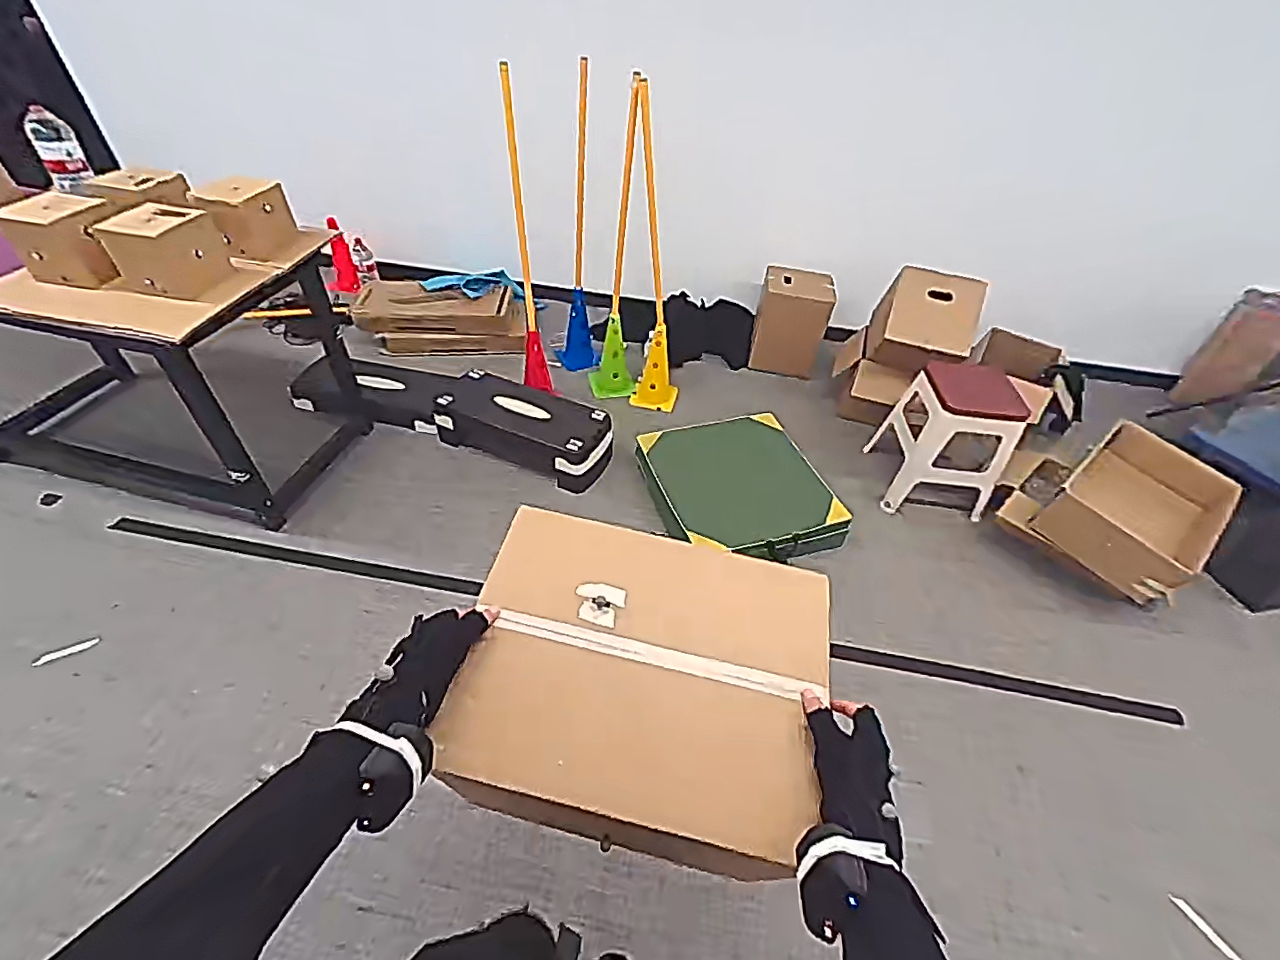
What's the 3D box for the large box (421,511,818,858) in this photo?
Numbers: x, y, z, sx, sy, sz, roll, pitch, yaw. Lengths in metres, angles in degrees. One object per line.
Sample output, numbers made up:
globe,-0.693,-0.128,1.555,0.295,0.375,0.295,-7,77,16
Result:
large box,-0.005,0.284,0.732,0.408,0.320,0.320,12,52,4
